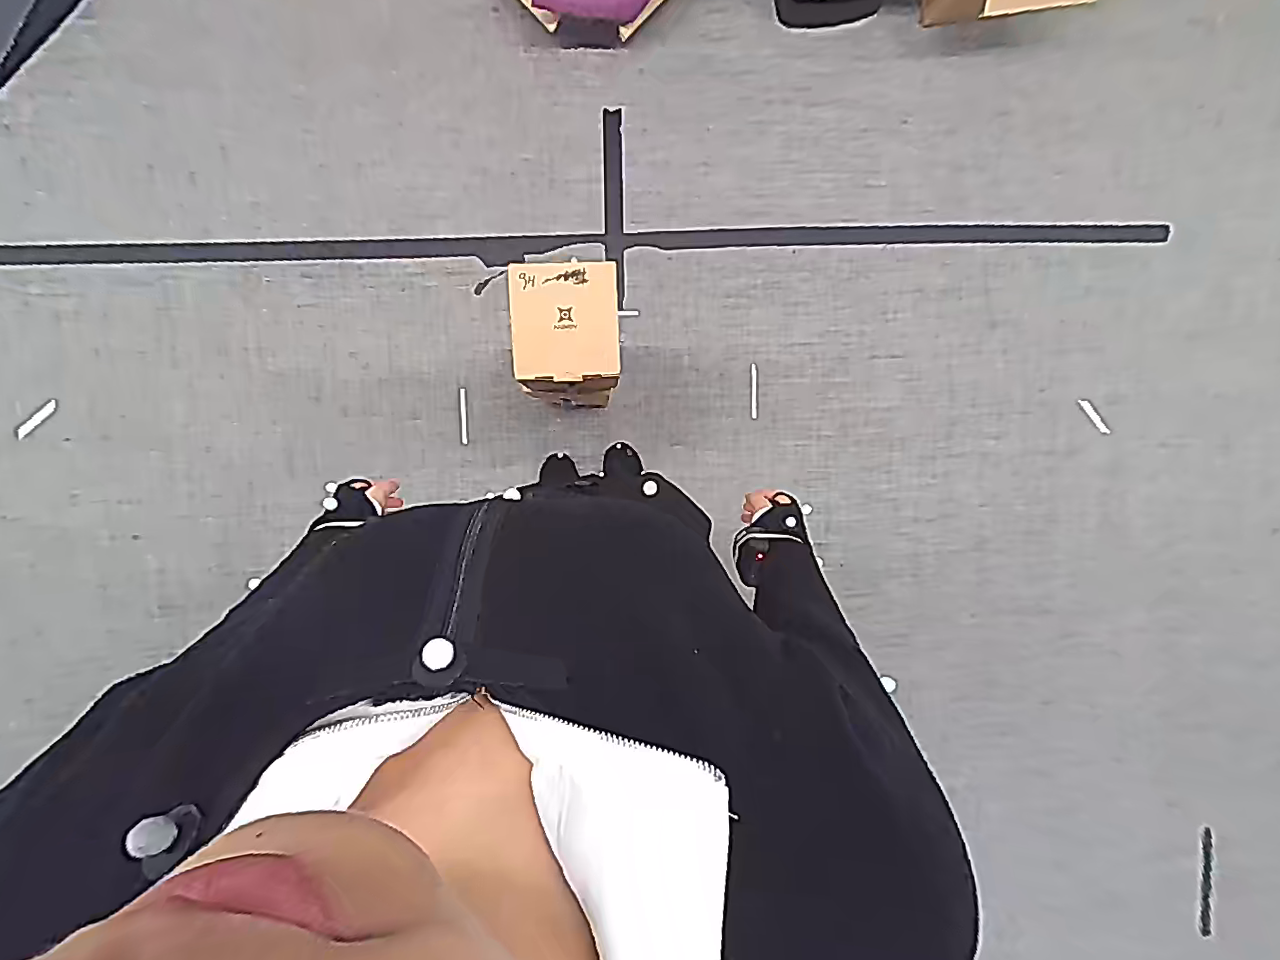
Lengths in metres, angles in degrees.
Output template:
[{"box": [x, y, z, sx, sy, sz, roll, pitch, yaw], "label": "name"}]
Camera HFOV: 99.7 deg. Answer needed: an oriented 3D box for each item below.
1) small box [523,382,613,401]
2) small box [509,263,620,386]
[{"box": [-0.135, -0.253, 1.068, 0.168, 0.176, 0.179, 2, 95, -3], "label": "small box"}, {"box": [-0.118, -0.249, 0.905, 0.168, 0.176, 0.179, -2, 95, -3], "label": "small box"}]
